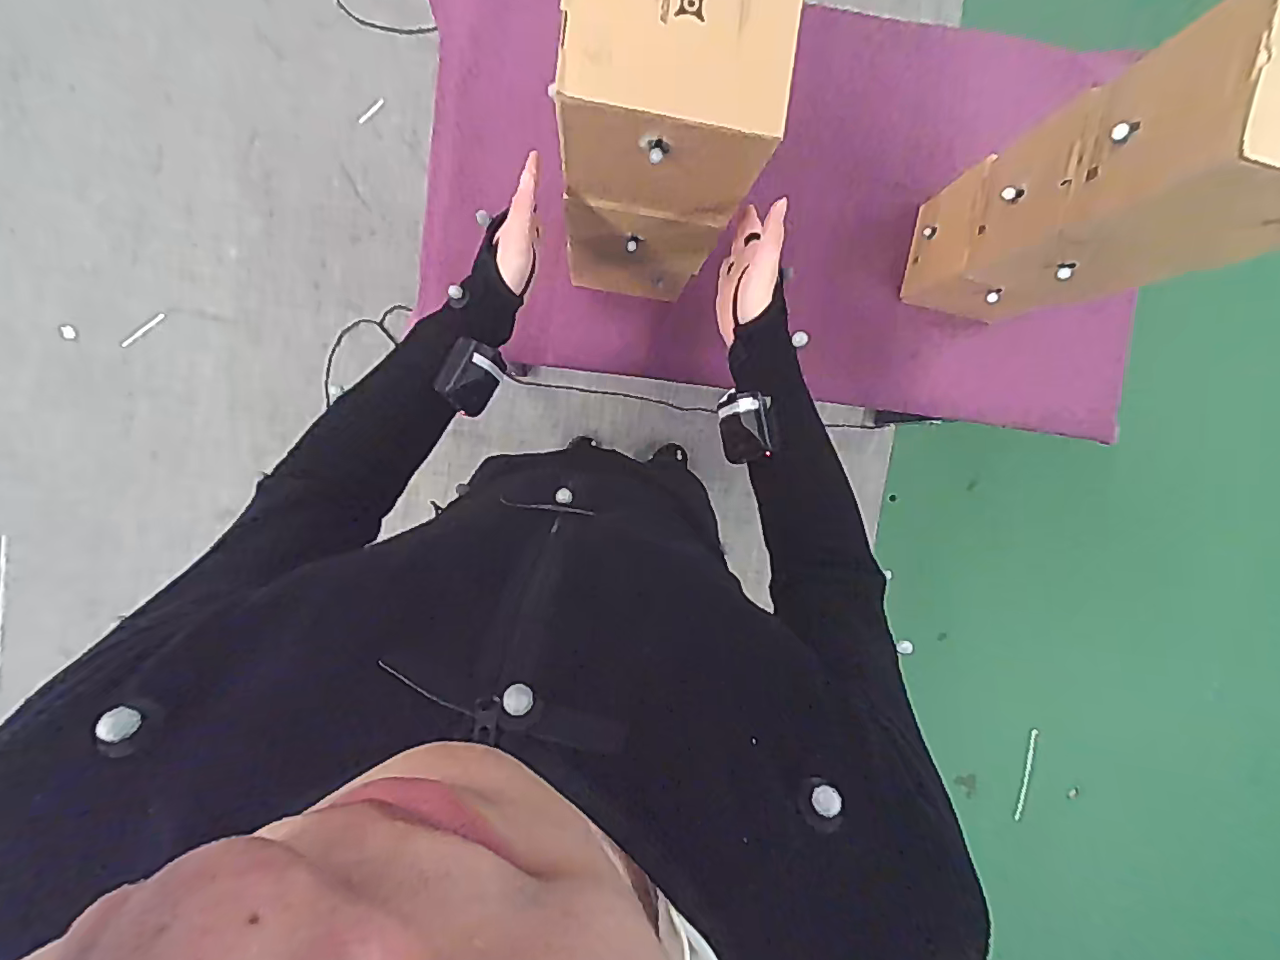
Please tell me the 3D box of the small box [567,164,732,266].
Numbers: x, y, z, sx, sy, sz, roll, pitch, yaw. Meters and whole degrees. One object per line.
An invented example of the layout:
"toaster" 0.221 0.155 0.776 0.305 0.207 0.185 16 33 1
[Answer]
"small box" 0.012 -0.367 0.636 0.179 0.176 0.168 7 93 -6

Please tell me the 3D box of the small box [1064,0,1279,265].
"small box" 0.579 -0.329 0.528 0.179 0.176 0.168 12 93 -5

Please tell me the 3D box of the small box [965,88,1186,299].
"small box" 0.560 -0.346 0.692 0.179 0.176 0.168 12 94 -5

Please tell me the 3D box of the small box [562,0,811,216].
"small box" 0.032 -0.357 0.475 0.179 0.176 0.168 8 94 -7

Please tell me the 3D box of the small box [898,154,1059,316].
"small box" 0.548 -0.370 0.854 0.179 0.176 0.168 12 93 -5
